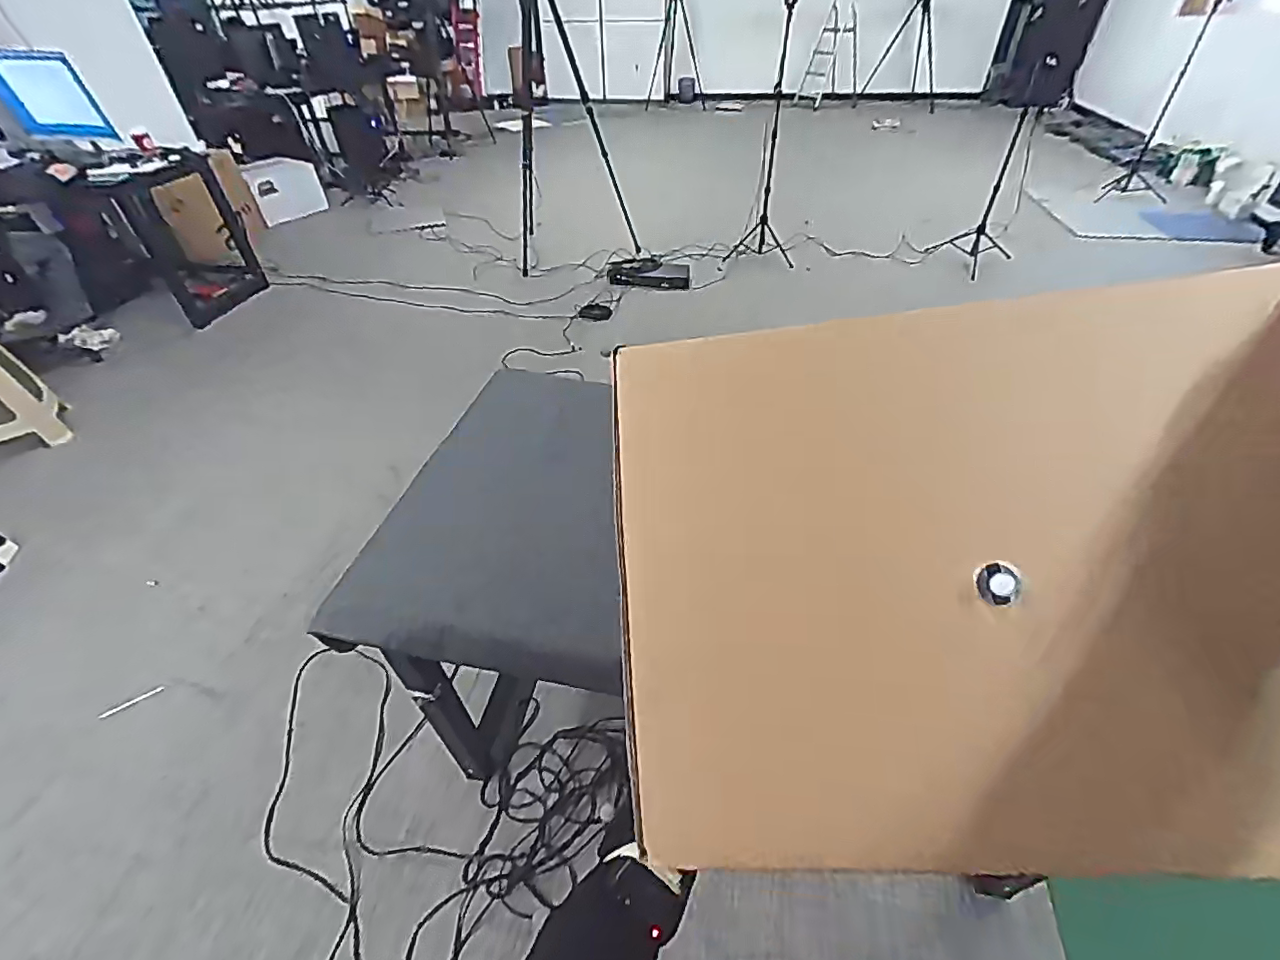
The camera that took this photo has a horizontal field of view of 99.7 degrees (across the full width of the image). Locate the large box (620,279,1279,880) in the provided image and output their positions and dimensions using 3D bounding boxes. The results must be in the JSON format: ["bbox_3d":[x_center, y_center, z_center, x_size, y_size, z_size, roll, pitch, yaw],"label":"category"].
[{"bbox_3d":[0.216,0.077,0.450,0.408,0.320,0.320,-7,79,7],"label":"large box"}]
